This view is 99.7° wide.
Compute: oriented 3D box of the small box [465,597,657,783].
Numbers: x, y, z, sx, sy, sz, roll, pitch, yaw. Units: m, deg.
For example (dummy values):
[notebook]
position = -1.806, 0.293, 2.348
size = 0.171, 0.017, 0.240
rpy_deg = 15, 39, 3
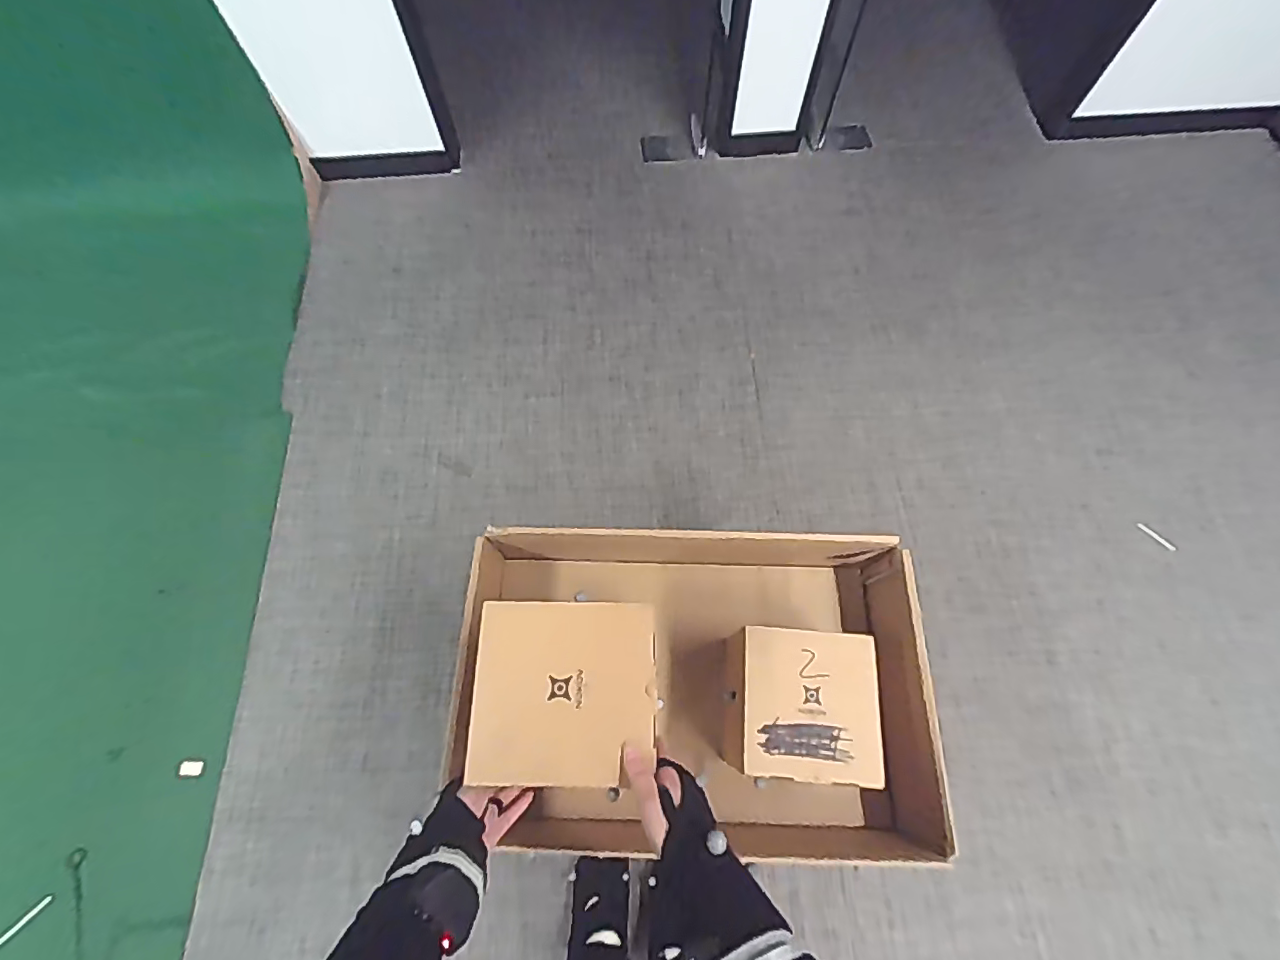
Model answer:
[small box]
position = -0.072, 0.227, 0.591
size = 0.179, 0.176, 0.168
rpy_deg = 1, 68, -2
